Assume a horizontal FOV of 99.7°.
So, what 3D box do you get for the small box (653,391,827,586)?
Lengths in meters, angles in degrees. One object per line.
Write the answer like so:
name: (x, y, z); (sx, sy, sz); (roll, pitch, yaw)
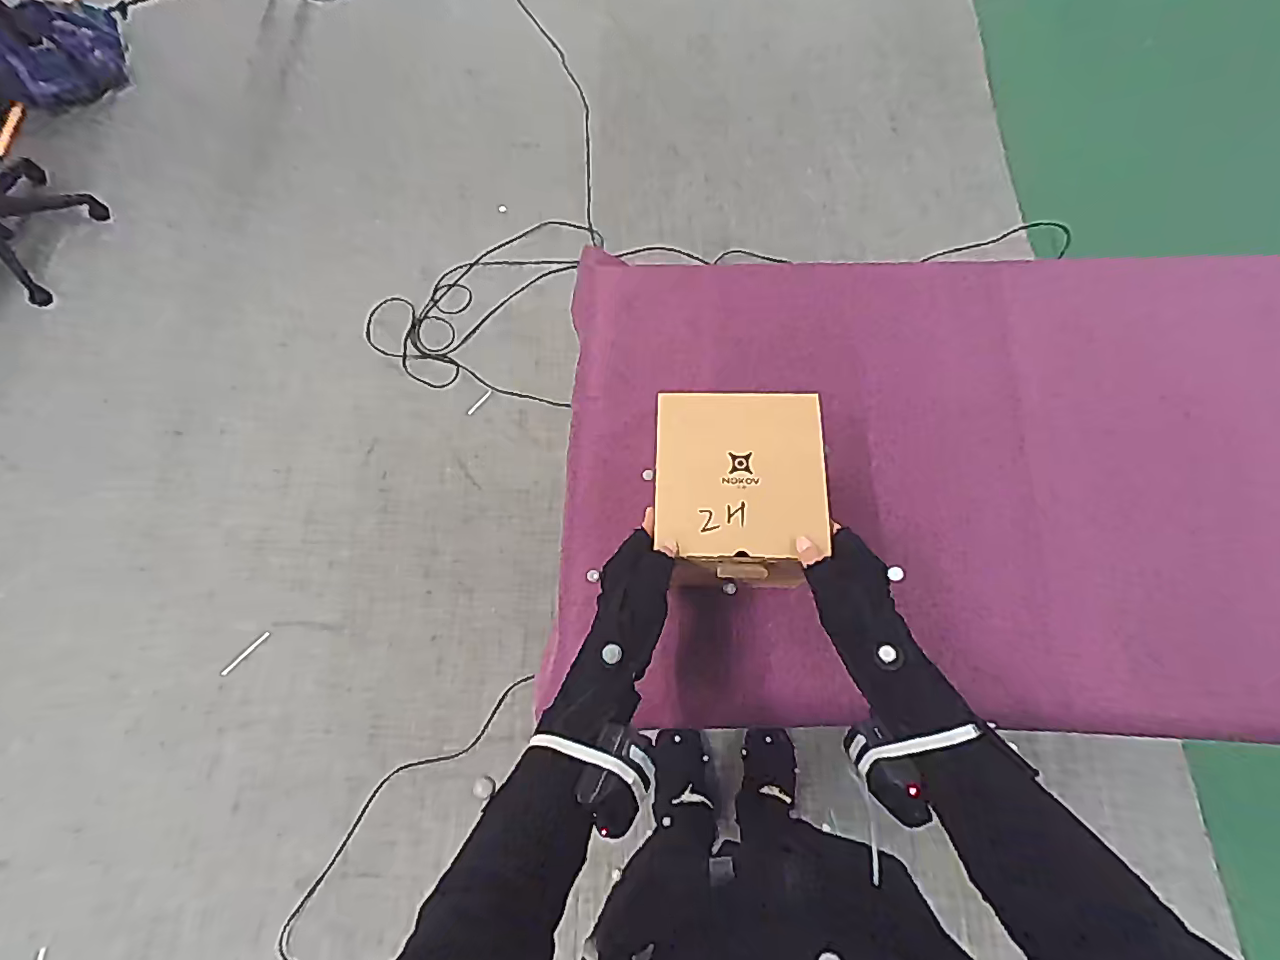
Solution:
small box: (0.102, 0.016, 0.610); (0.168, 0.176, 0.179); (1, 70, 5)
